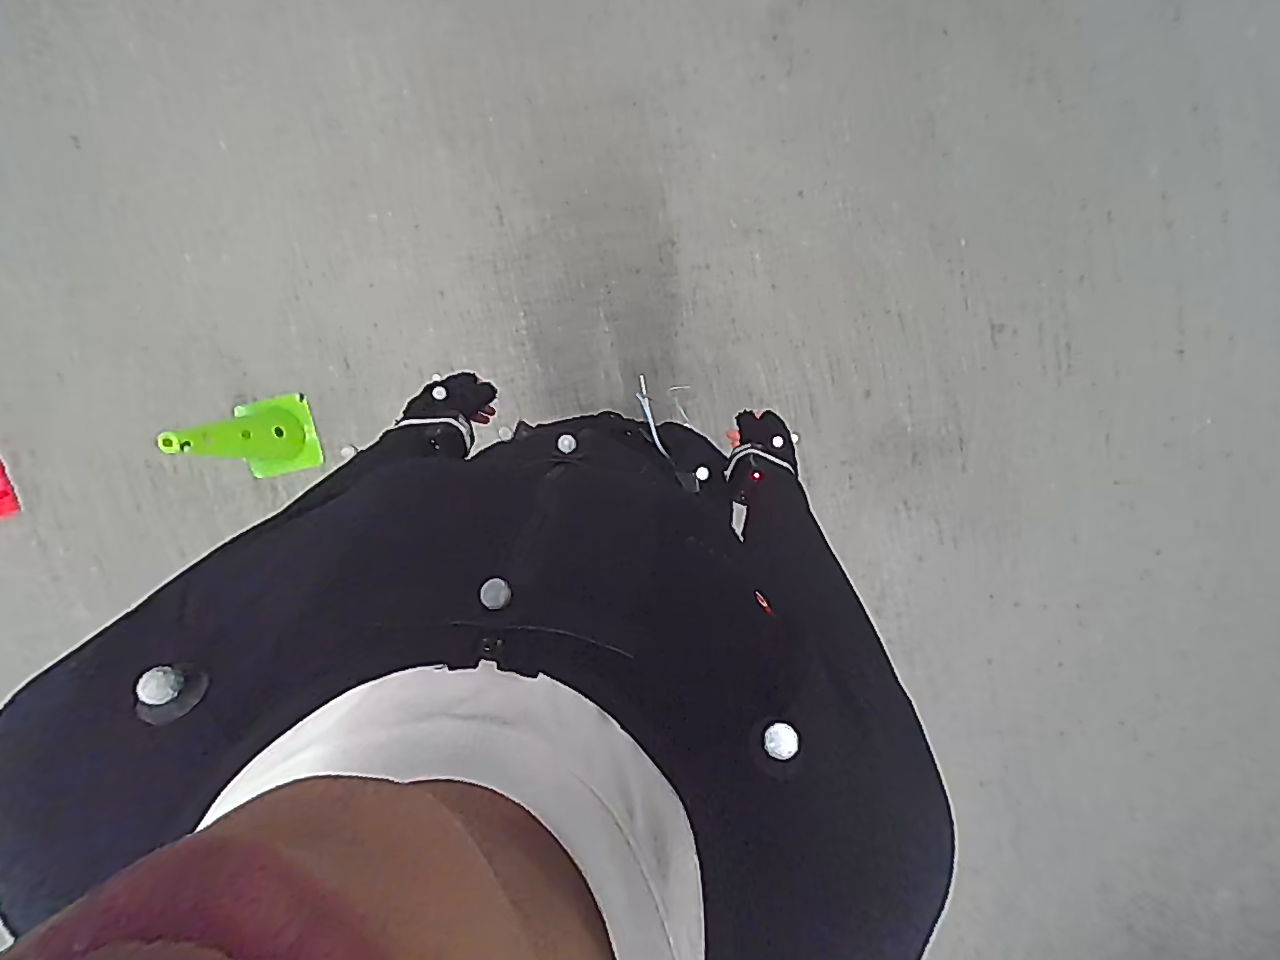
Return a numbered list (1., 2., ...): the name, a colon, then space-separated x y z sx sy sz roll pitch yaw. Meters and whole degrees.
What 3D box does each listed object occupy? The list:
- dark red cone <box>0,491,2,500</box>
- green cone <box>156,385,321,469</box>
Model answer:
1. dark red cone: -1.810 0.020 1.266 0.201 0.394 0.202 -16 98 3
2. green cone: -0.974 -0.115 1.277 0.200 0.368 0.202 -13 99 2
